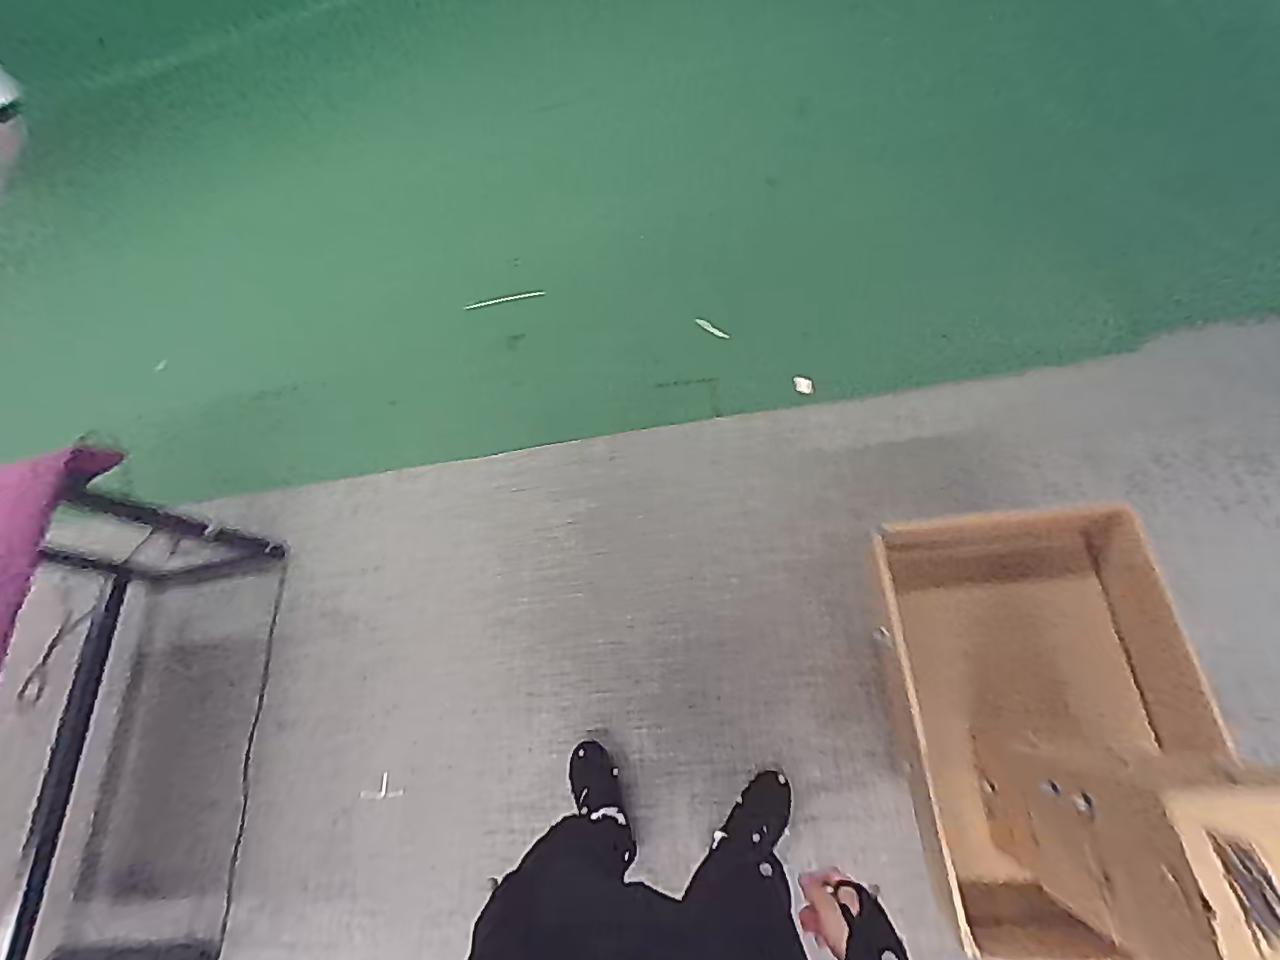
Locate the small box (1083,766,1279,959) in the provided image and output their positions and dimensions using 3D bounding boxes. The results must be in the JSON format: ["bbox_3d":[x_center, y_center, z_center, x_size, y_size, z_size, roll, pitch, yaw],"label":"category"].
[{"bbox_3d":[0.552,0.365,0.492,0.179,0.176,0.168,-6,68,10],"label":"small box"}]

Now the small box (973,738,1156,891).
[{"bbox_3d":[0.626,0.477,0.793,0.179,0.176,0.168,-6,69,12],"label":"small box"}]
